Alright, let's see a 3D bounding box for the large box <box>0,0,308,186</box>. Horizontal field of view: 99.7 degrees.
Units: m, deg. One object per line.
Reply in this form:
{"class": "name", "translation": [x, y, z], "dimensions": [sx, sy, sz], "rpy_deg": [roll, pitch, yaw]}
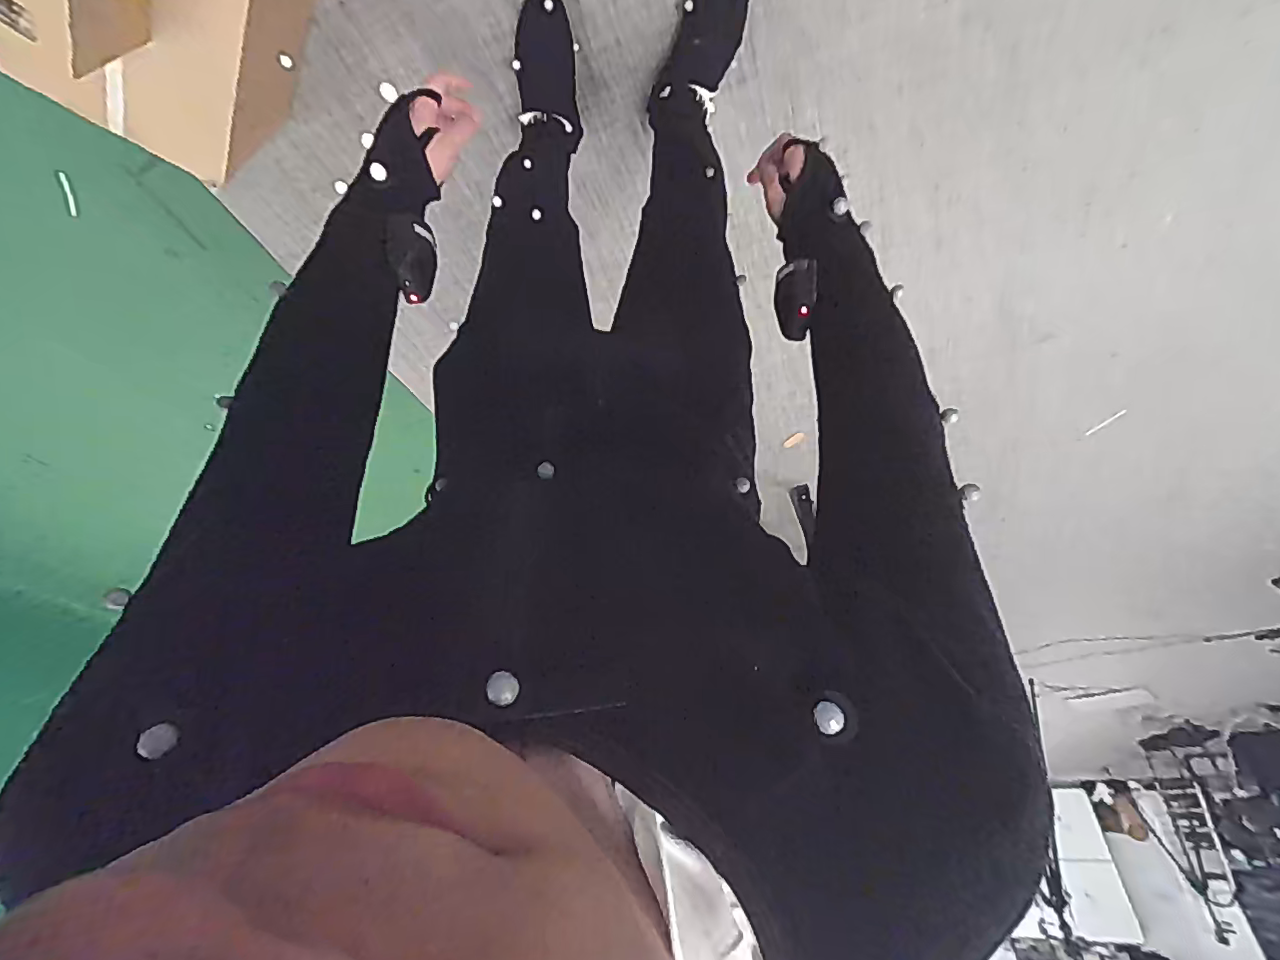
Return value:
{"class": "large box", "translation": [-0.770, -0.808, 0.883], "dimensions": [0.320, 0.320, 0.408], "rpy_deg": [25, 138, -28]}
